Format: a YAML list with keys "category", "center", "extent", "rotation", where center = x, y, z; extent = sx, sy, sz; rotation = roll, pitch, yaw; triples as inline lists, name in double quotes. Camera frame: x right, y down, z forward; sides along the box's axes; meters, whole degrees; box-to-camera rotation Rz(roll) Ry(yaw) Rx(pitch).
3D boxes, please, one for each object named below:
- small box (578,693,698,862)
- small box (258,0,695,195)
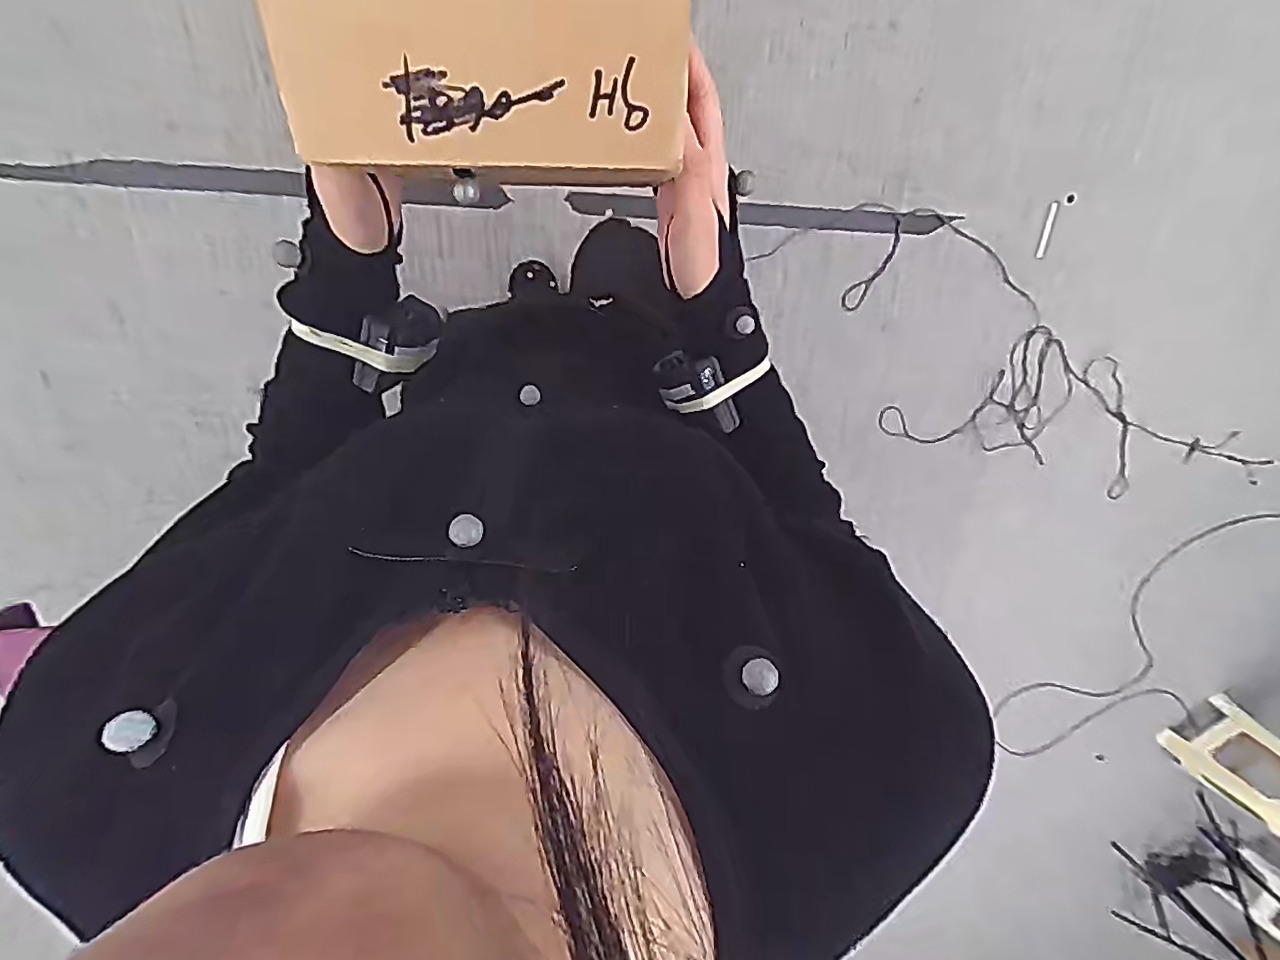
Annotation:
- category: "small box"
  center: [-0.013, 0.478, 0.885]
  extent: [0.168, 0.176, 0.179]
  rotation: [0, 112, -10]
- category: "small box"
  center: [-0.063, -0.245, 0.264]
  extent: [0.168, 0.176, 0.179]
  rotation: [0, 116, -2]
